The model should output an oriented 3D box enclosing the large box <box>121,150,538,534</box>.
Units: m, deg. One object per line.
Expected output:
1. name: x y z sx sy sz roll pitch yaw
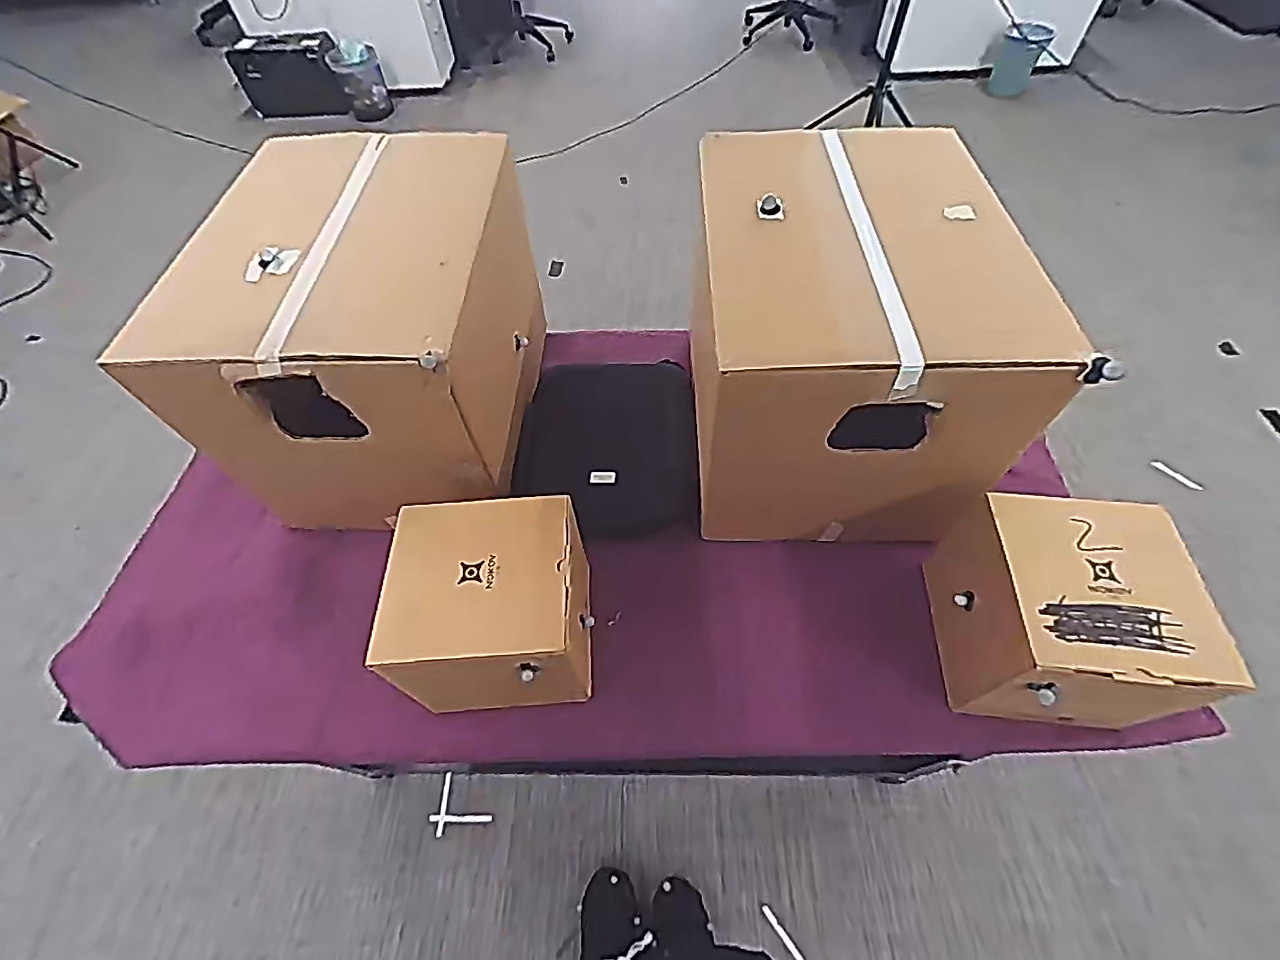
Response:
1. large box: -0.323 -0.174 0.718 0.320 0.320 0.408 -1 58 1
